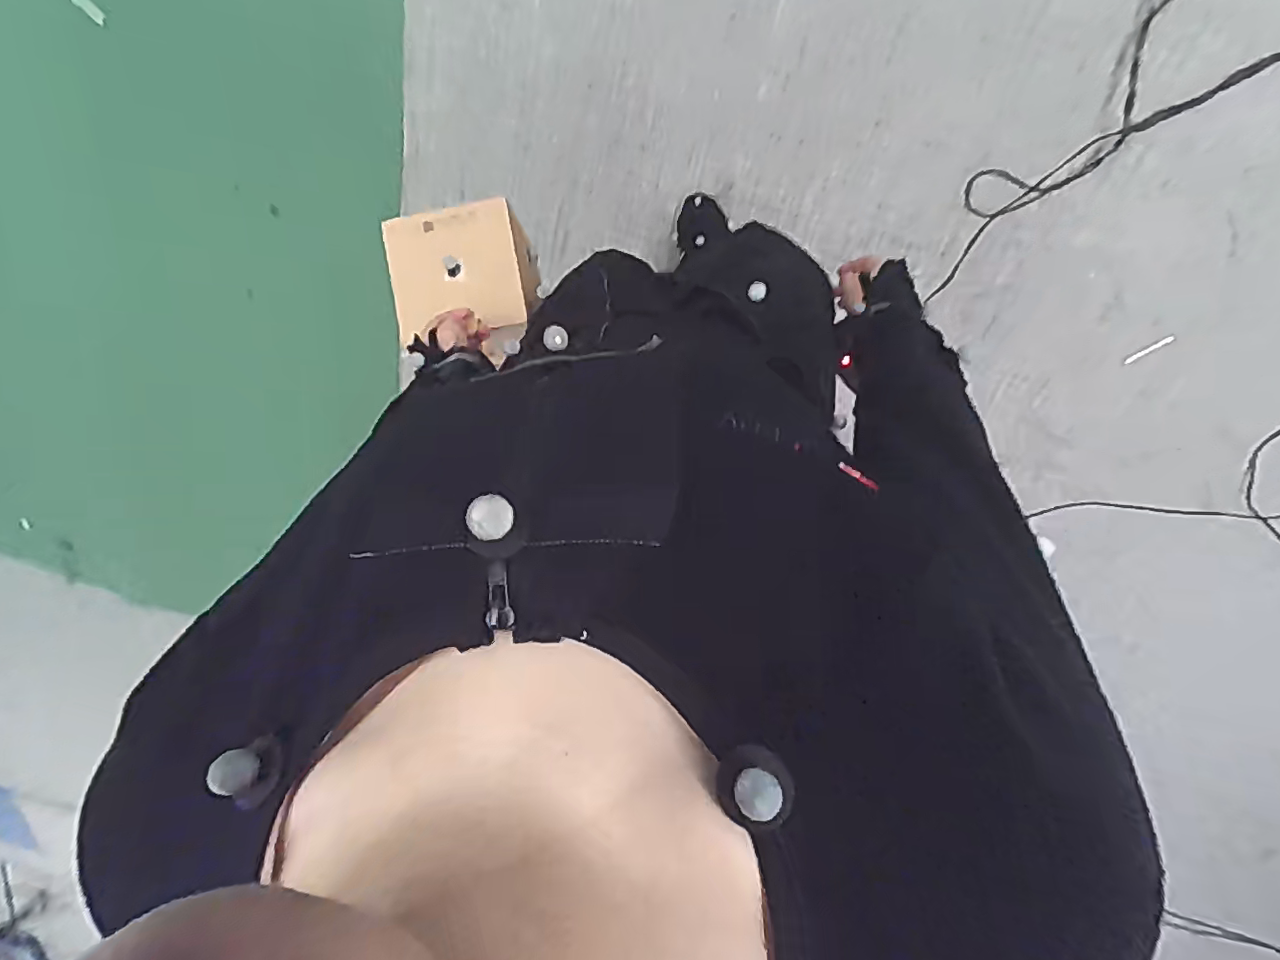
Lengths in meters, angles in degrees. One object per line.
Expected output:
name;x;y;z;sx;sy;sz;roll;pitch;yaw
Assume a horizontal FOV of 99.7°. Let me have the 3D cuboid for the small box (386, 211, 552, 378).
small box;-0.235;-0.260;0.769;0.168;0.179;0.176;-12;89;0
